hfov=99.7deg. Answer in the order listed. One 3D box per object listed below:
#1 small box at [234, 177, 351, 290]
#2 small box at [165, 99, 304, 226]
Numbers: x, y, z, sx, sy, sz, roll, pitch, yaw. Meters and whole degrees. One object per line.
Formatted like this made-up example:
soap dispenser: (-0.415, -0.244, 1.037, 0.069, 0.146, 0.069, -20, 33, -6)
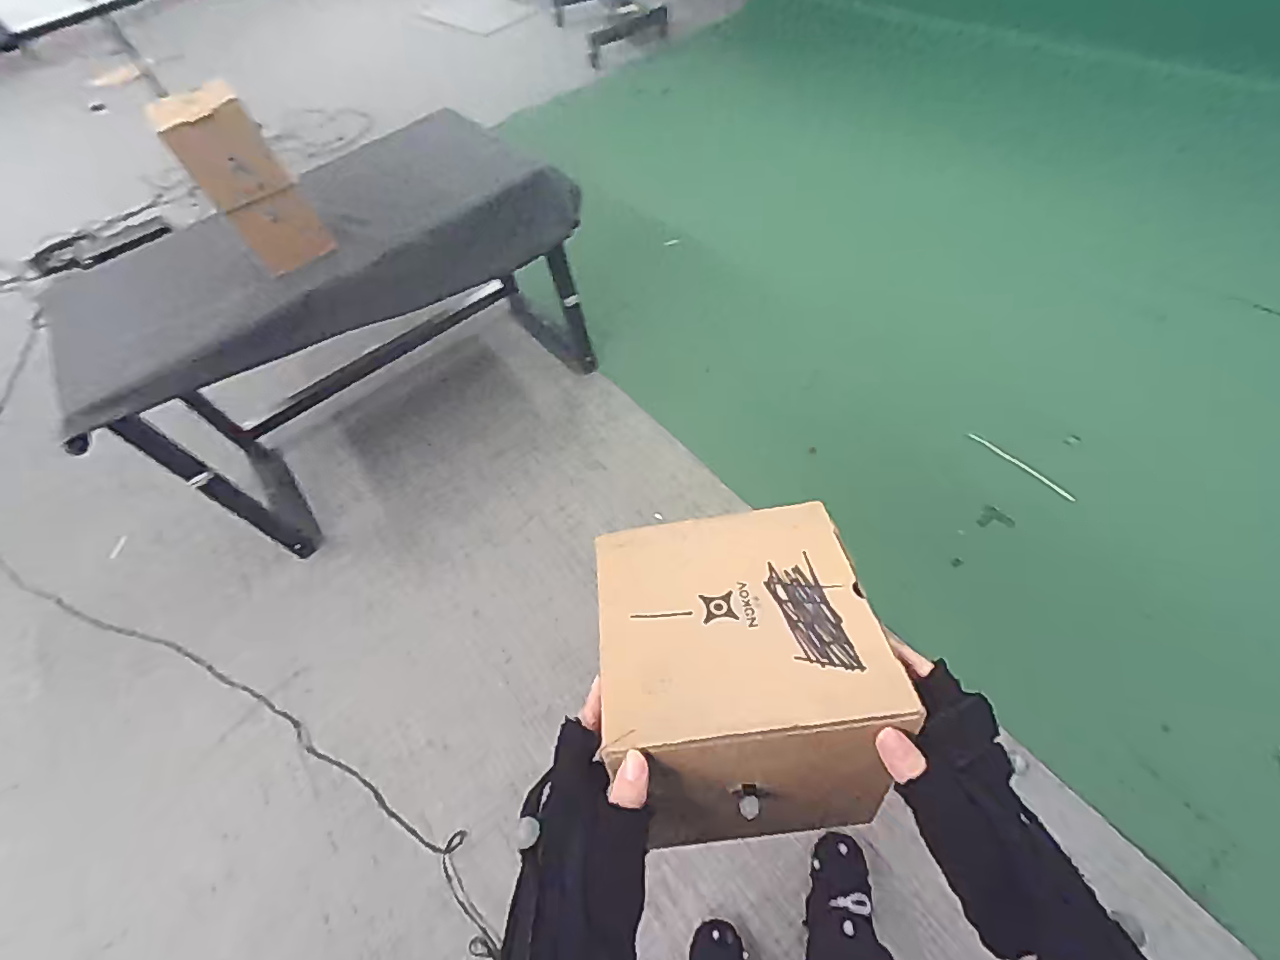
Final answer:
small box: (-0.844, -0.590, 1.305, 0.179, 0.176, 0.168, -34, 57, -15)
small box: (-0.868, -0.680, 1.170, 0.168, 0.176, 0.179, -34, 58, -14)
